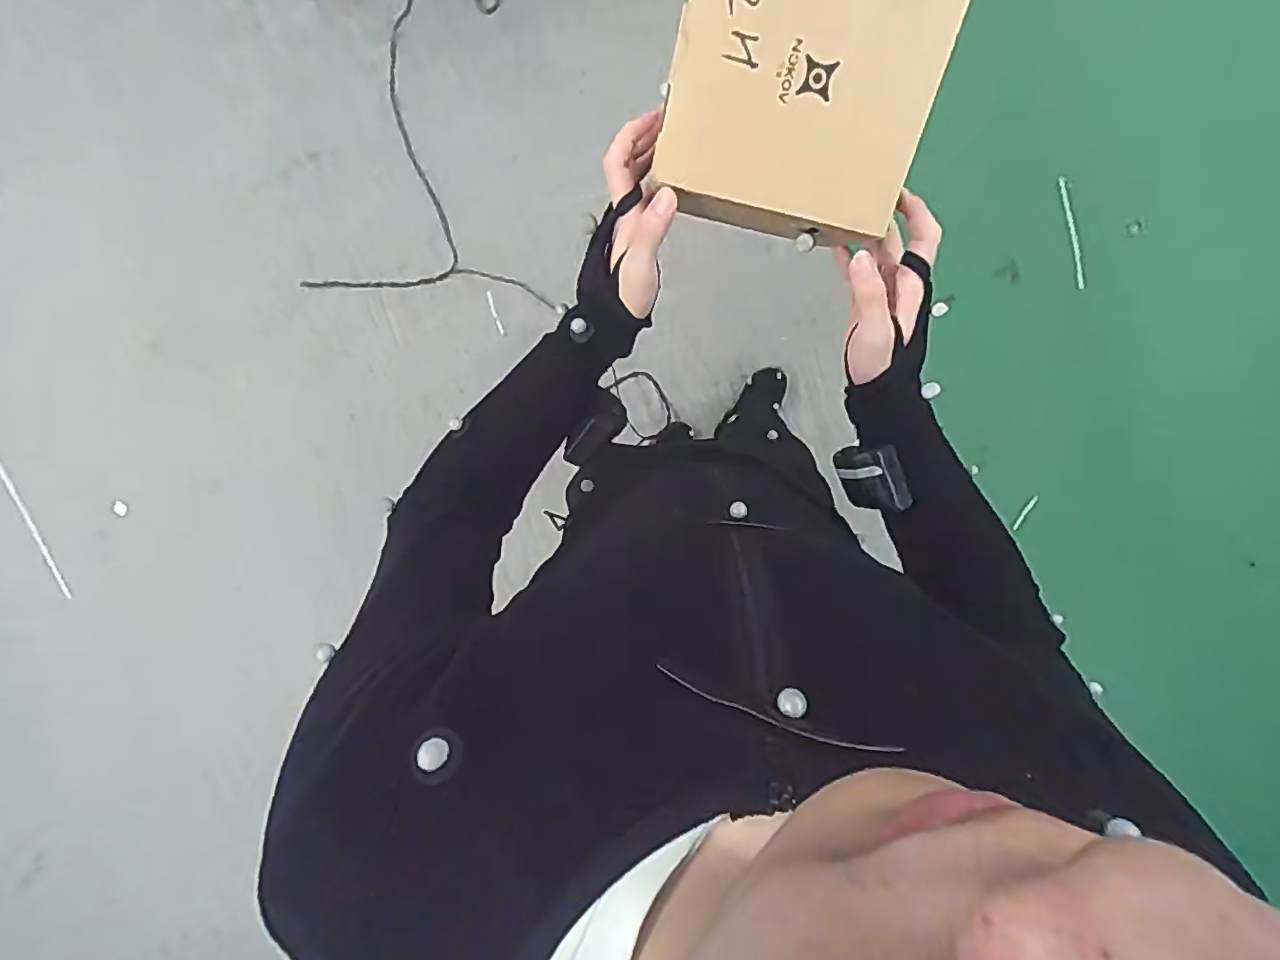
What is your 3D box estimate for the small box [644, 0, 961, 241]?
[{"bbox_3d":[0.109,-0.296,0.431,0.179,0.176,0.168,12,111,0],"label":"small box"}]
